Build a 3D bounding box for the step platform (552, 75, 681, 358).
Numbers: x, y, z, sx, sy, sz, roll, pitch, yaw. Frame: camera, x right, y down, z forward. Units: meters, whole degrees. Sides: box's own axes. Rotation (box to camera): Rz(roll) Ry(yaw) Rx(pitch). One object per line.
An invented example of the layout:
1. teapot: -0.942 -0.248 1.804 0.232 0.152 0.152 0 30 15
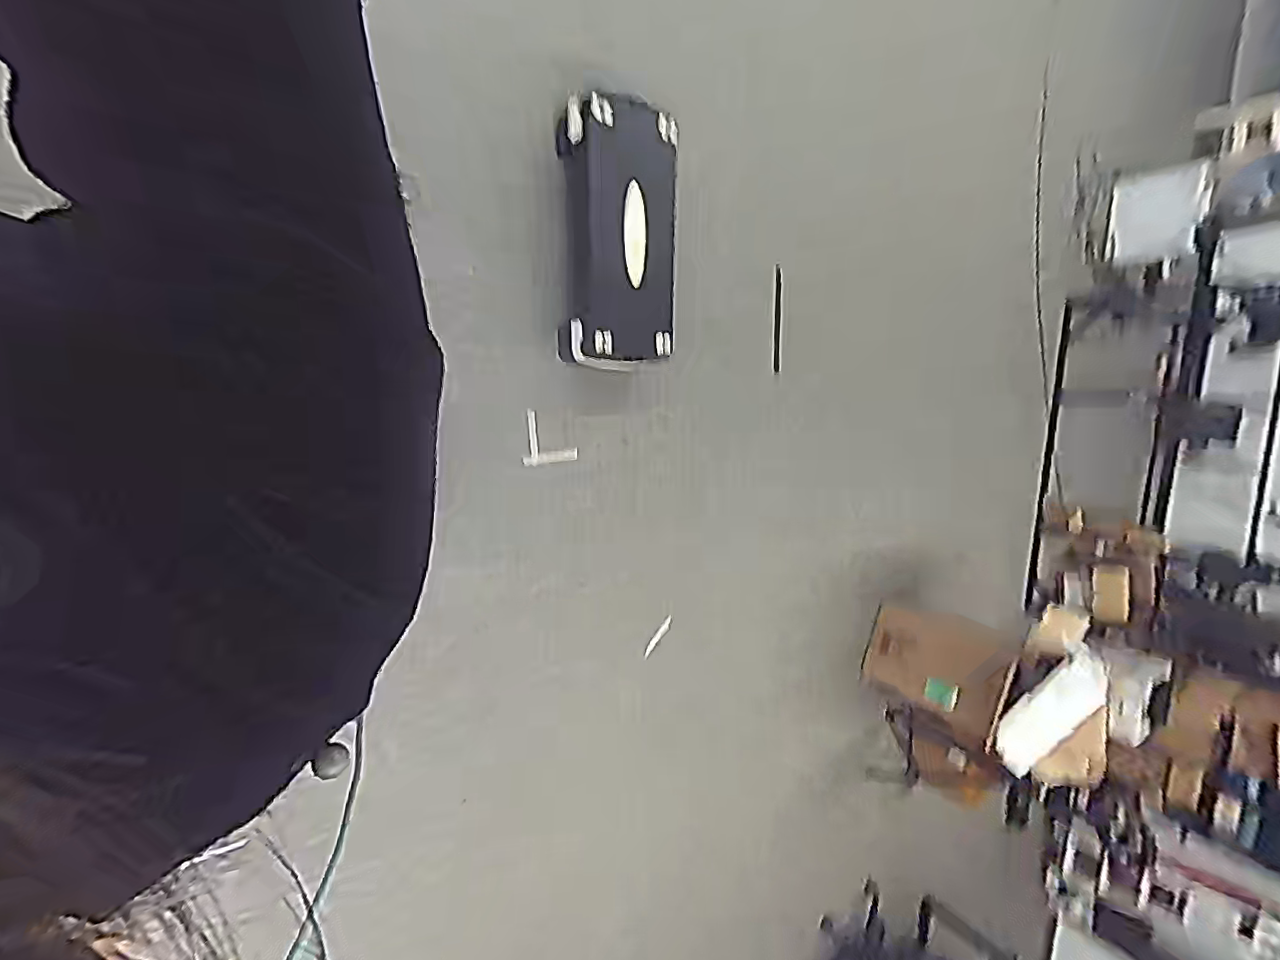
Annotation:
1. step platform: -0.065 -0.695 1.499 0.286 0.204 0.684 -2 99 -32
